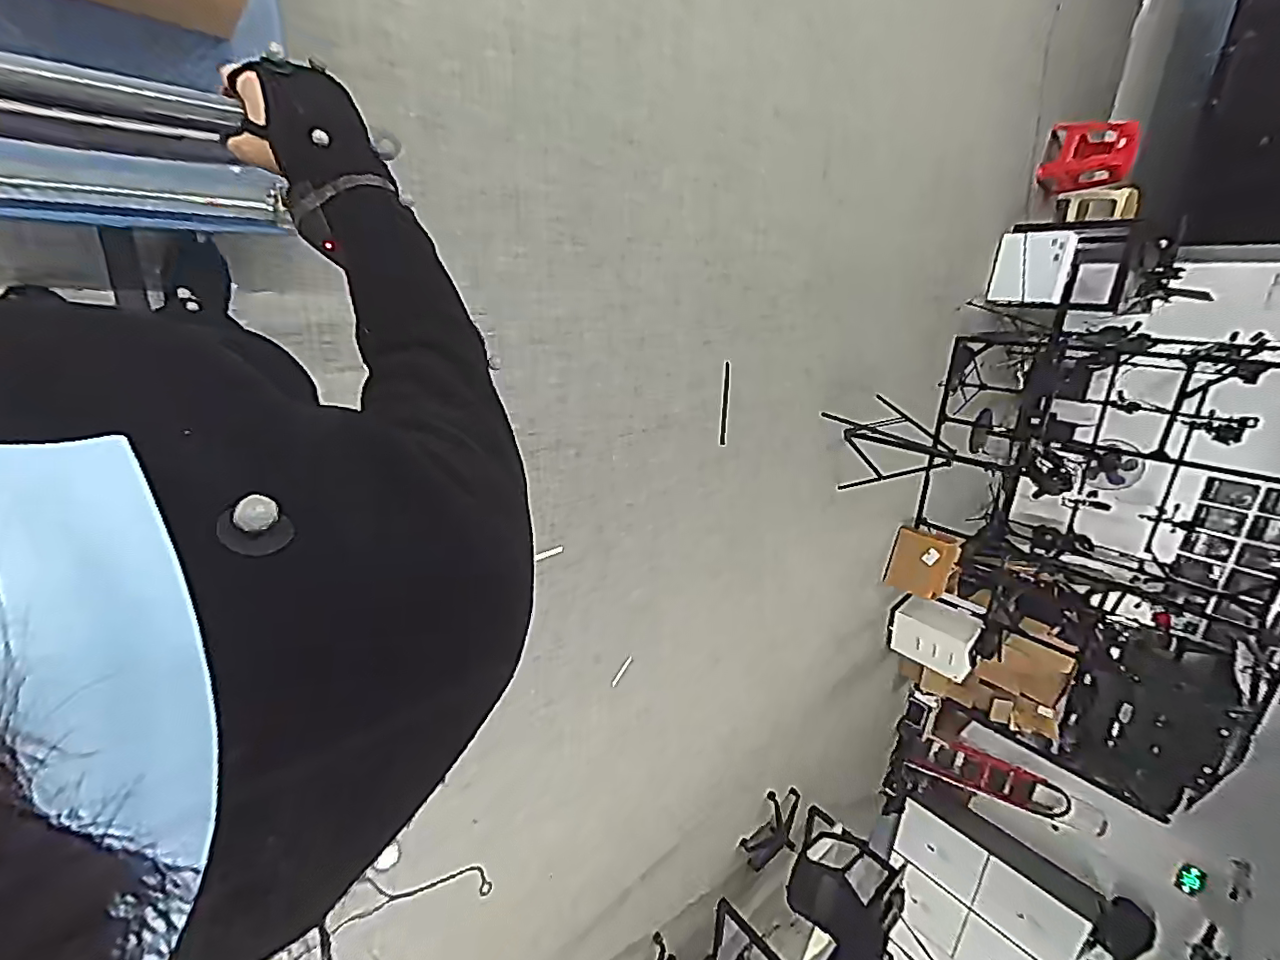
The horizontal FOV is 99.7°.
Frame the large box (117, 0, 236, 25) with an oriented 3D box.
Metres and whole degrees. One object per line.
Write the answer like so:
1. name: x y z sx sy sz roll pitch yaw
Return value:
1. large box: -0.763 -0.835 0.654 0.408 0.320 0.320 -14 115 -38
